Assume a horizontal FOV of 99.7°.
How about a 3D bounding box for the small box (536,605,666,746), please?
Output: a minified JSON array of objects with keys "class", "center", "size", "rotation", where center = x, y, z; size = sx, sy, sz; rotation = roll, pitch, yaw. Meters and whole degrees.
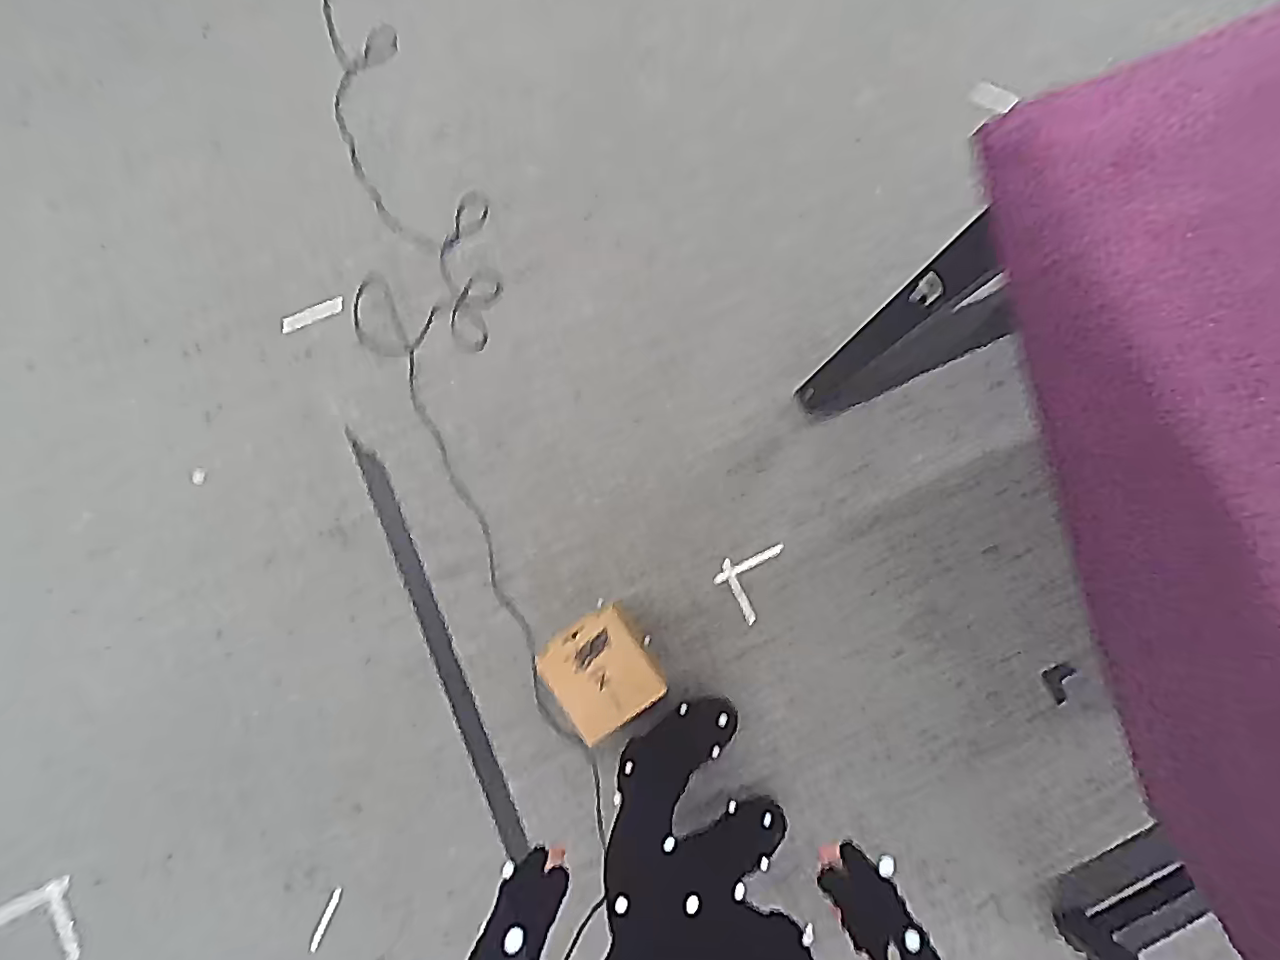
[{"class":"small box","center":[-0.070,0.349,1.011],"size":[0.168,0.176,0.179],"rotation":[-34,85,-4]}]
